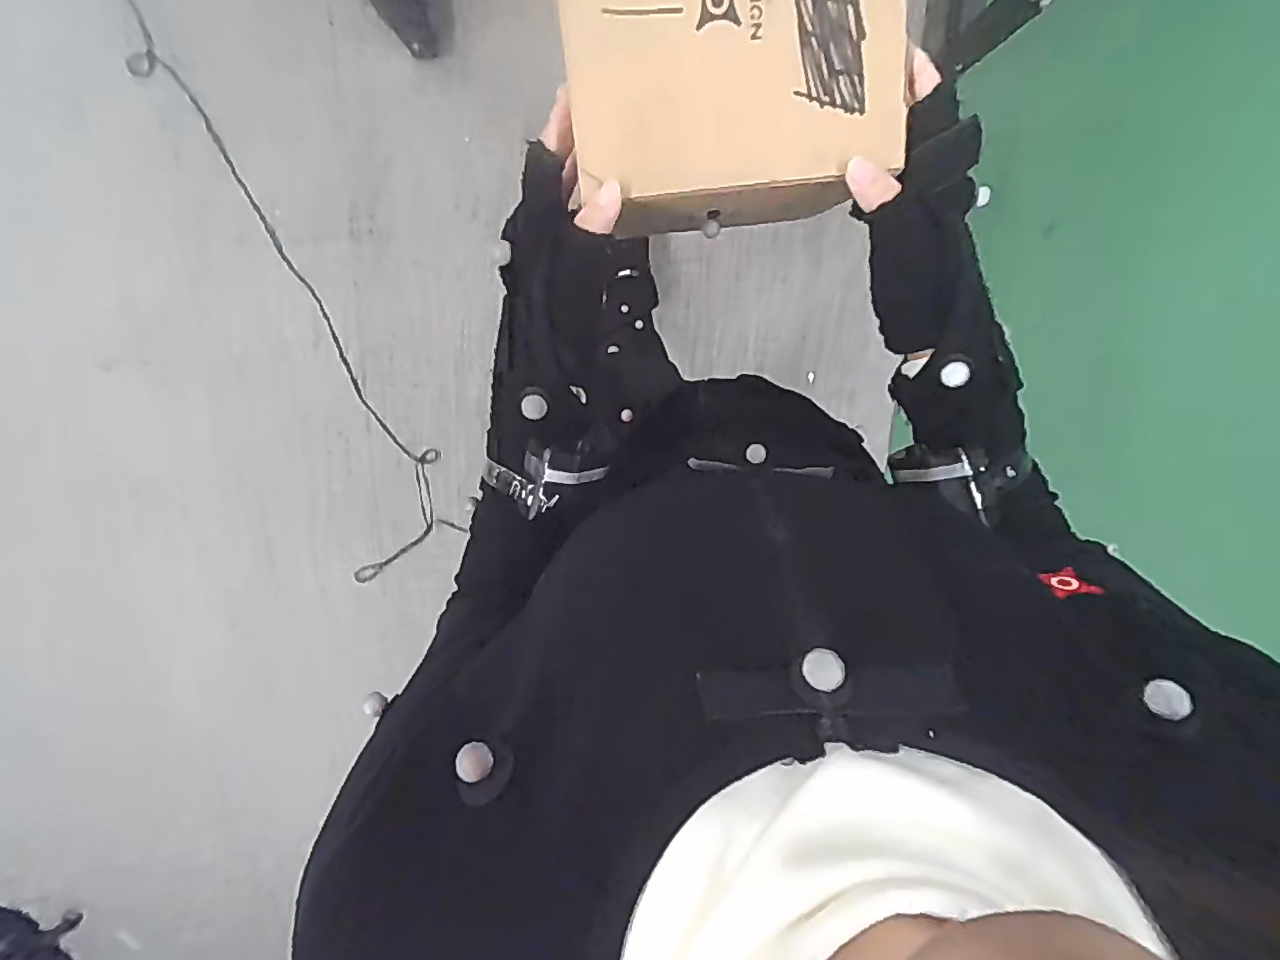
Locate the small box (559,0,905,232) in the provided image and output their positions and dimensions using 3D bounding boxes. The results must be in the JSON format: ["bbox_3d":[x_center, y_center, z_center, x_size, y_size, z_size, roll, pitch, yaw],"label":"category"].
[{"bbox_3d":[0.046,-0.262,0.346,0.179,0.176,0.168,-5,109,2],"label":"small box"}]
